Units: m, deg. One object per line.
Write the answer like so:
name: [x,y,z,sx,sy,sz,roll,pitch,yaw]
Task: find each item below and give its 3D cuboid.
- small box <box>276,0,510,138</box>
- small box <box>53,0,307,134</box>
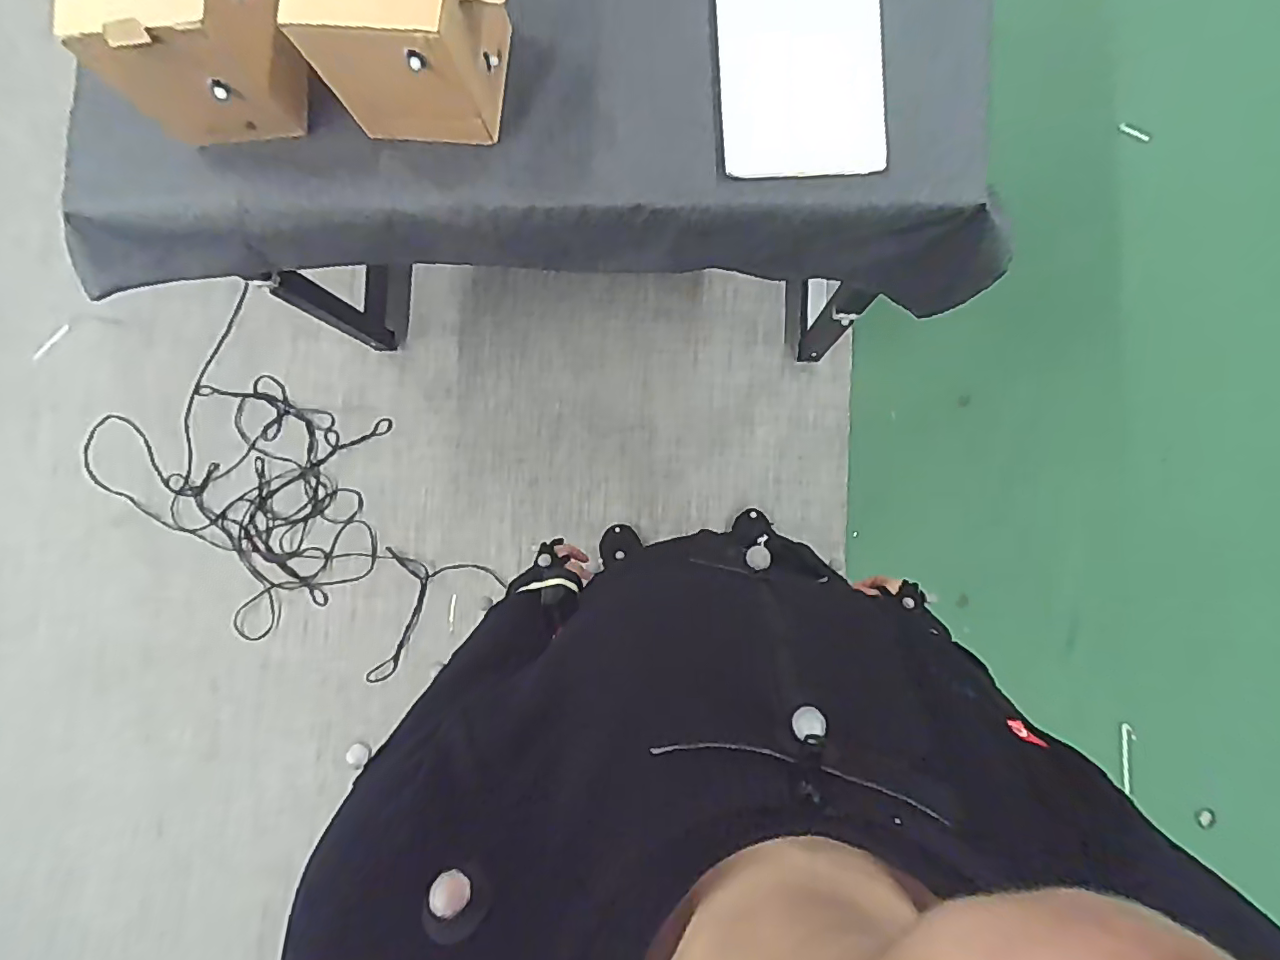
small box: [-0.268,-0.529,0.624,0.179,0.176,0.168,6,86,4]
small box: [-0.526,-0.545,0.643,0.168,0.176,0.179,-3,85,3]
